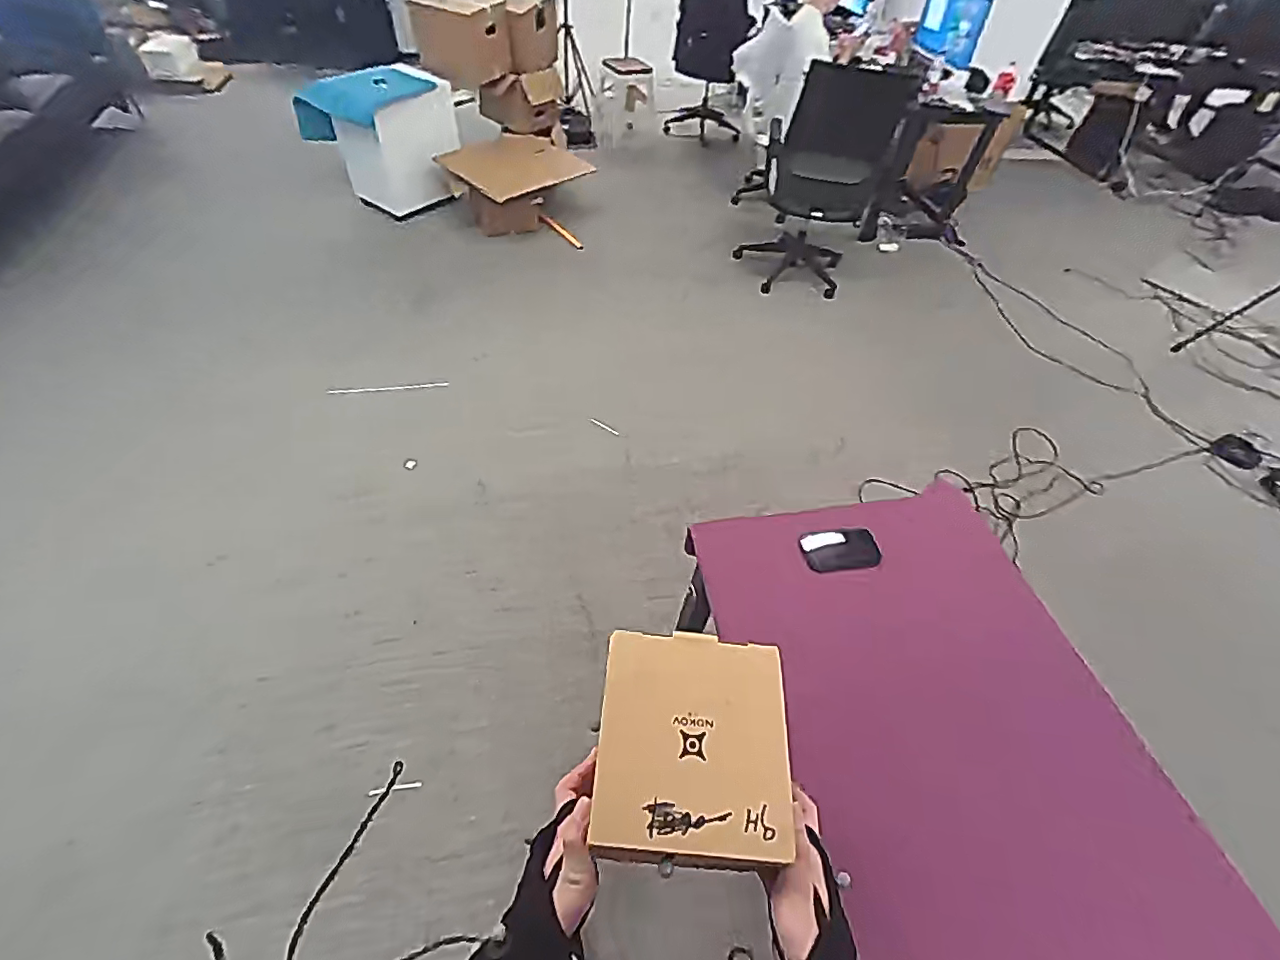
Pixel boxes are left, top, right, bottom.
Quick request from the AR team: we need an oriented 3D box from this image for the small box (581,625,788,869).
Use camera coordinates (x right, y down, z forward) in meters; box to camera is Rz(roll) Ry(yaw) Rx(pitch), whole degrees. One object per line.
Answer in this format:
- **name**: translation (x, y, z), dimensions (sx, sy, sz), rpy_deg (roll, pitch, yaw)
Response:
- **small box**: translation (0.035, 0.265, 0.533), dimensions (0.168, 0.176, 0.179), rpy_deg (5, 52, 0)
